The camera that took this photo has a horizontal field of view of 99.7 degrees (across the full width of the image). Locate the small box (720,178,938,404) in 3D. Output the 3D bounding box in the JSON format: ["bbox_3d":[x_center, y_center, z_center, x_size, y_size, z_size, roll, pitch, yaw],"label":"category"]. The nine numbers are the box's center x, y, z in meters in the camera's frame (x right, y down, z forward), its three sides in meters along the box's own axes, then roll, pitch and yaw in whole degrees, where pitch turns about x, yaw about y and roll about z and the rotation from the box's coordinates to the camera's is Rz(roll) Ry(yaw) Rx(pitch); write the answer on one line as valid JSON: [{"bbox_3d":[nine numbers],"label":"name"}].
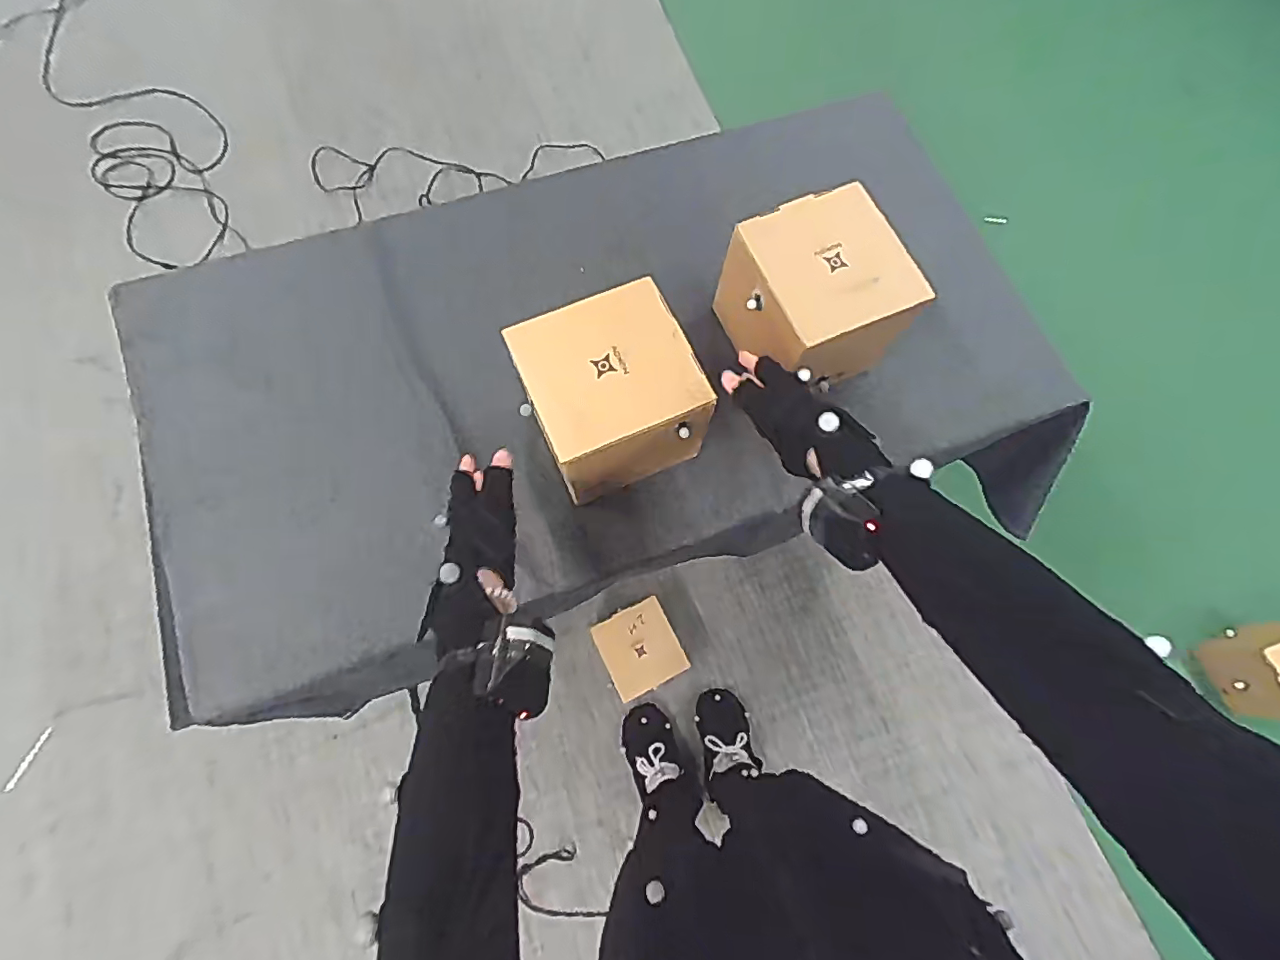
[{"bbox_3d":[0.214,-0.223,0.671,0.168,0.176,0.179,-22,76,-7],"label":"small box"}]

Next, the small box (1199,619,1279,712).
[{"bbox_3d":[1.502,0.439,1.282,0.179,0.176,0.168,-20,75,-6],"label":"small box"}]

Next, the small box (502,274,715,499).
[{"bbox_3d":[-0.035,-0.095,0.627,0.179,0.176,0.168,-24,76,-9],"label":"small box"}]

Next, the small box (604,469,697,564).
[{"bbox_3d":[0.021,0.095,1.328,0.179,0.176,0.168,-21,76,-6],"label":"small box"}]
